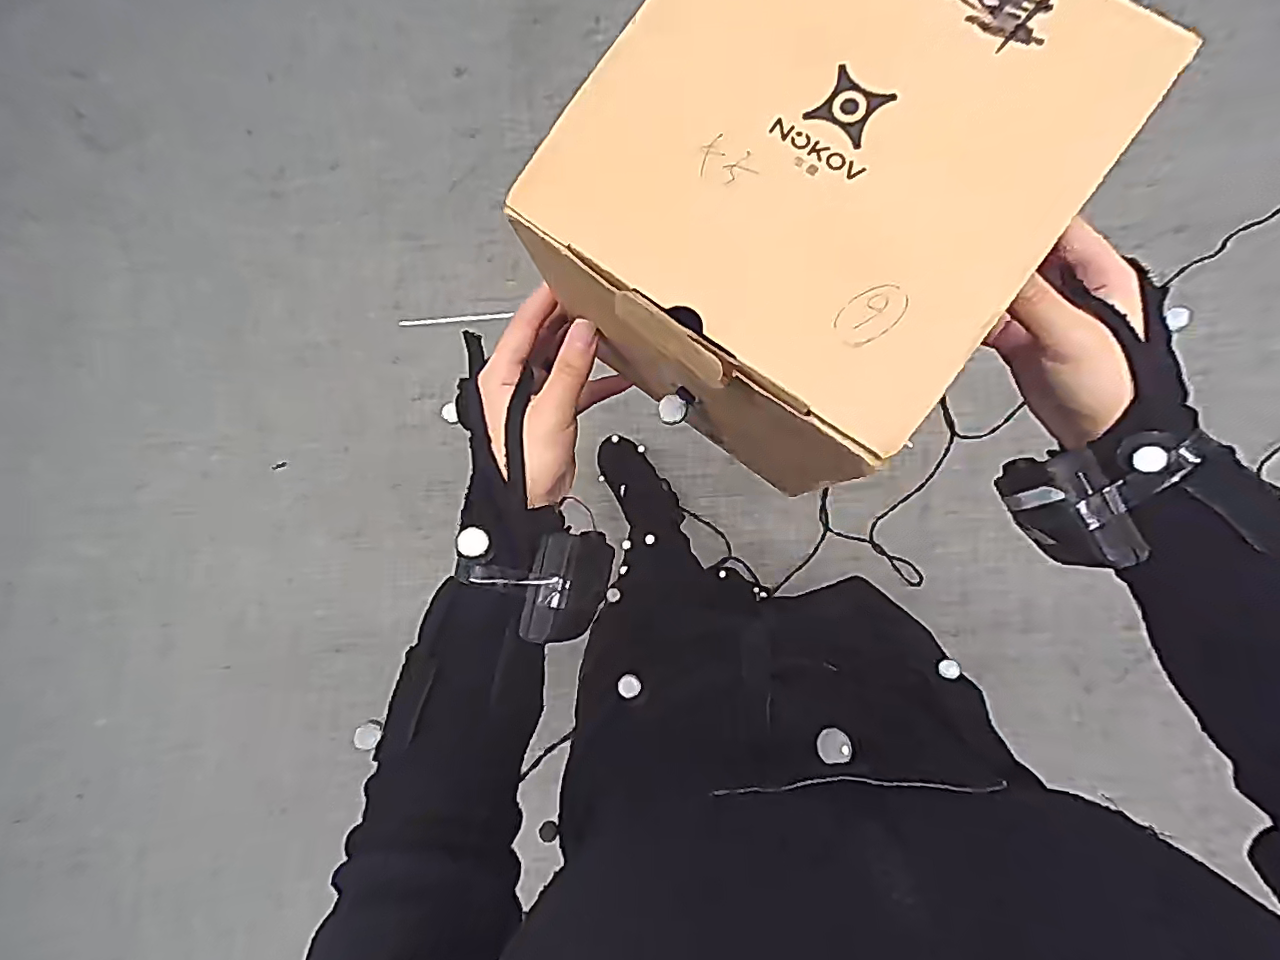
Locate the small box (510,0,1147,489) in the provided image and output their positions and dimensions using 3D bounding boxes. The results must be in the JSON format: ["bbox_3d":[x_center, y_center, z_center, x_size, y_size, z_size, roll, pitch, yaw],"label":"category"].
[{"bbox_3d":[0.072,-0.110,0.278,0.168,0.176,0.179,37,90,8],"label":"small box"}]
